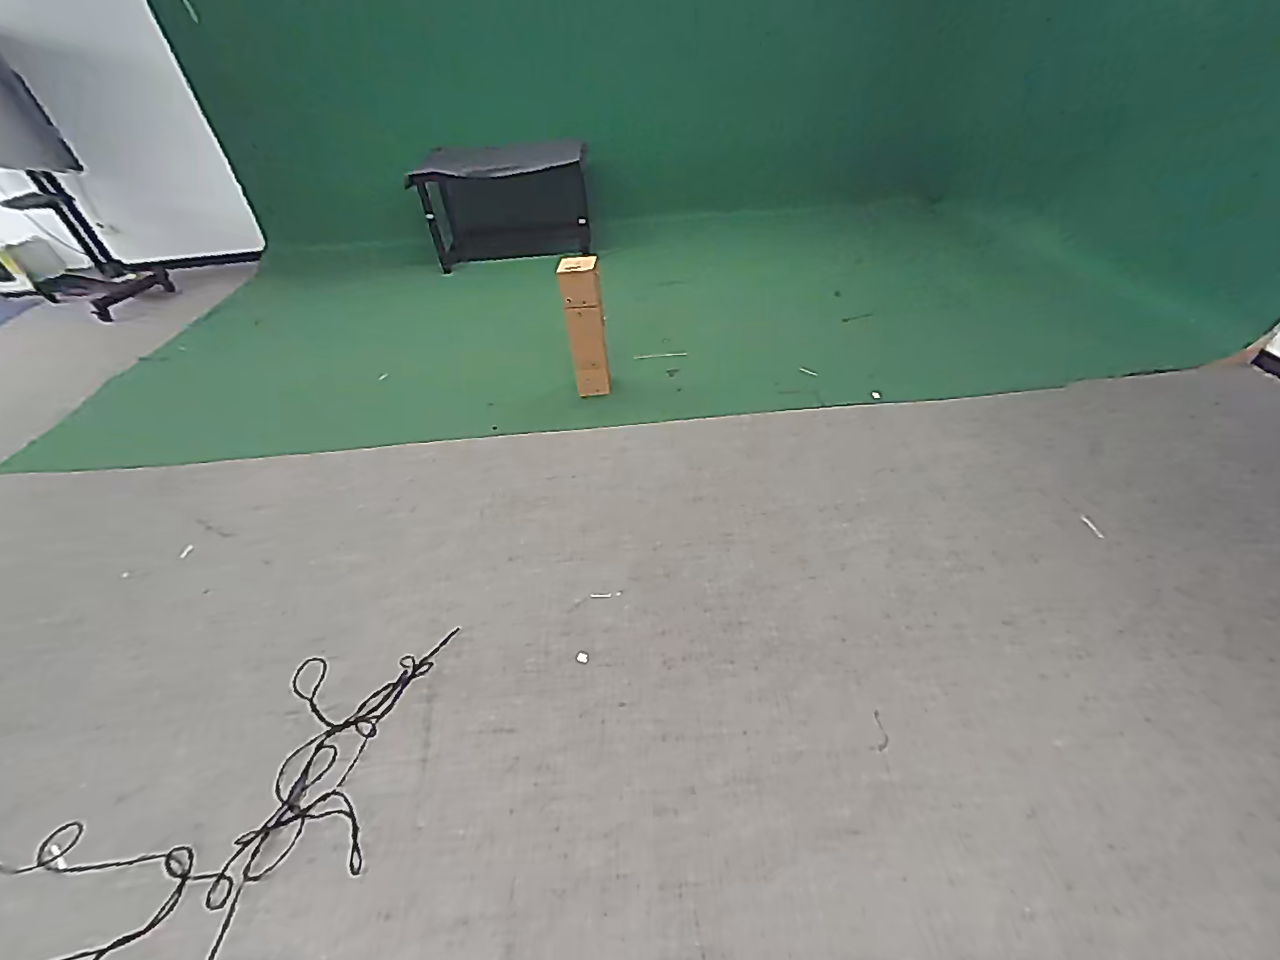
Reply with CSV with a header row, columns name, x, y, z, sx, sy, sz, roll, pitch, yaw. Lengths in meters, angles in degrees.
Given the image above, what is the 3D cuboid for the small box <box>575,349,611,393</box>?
name,x,y,z,sx,sy,sz,roll,pitch,yaw
small box,-0.243,-0.564,2.830,0.168,0.176,0.179,-5,41,2

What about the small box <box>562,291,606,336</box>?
name,x,y,z,sx,sy,sz,roll,pitch,yaw
small box,-0.266,-0.806,2.609,0.179,0.176,0.168,-3,42,4

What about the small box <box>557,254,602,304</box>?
name,x,y,z,sx,sy,sz,roll,pitch,yaw
small box,-0.274,-0.922,2.492,0.168,0.176,0.179,-2,41,5
